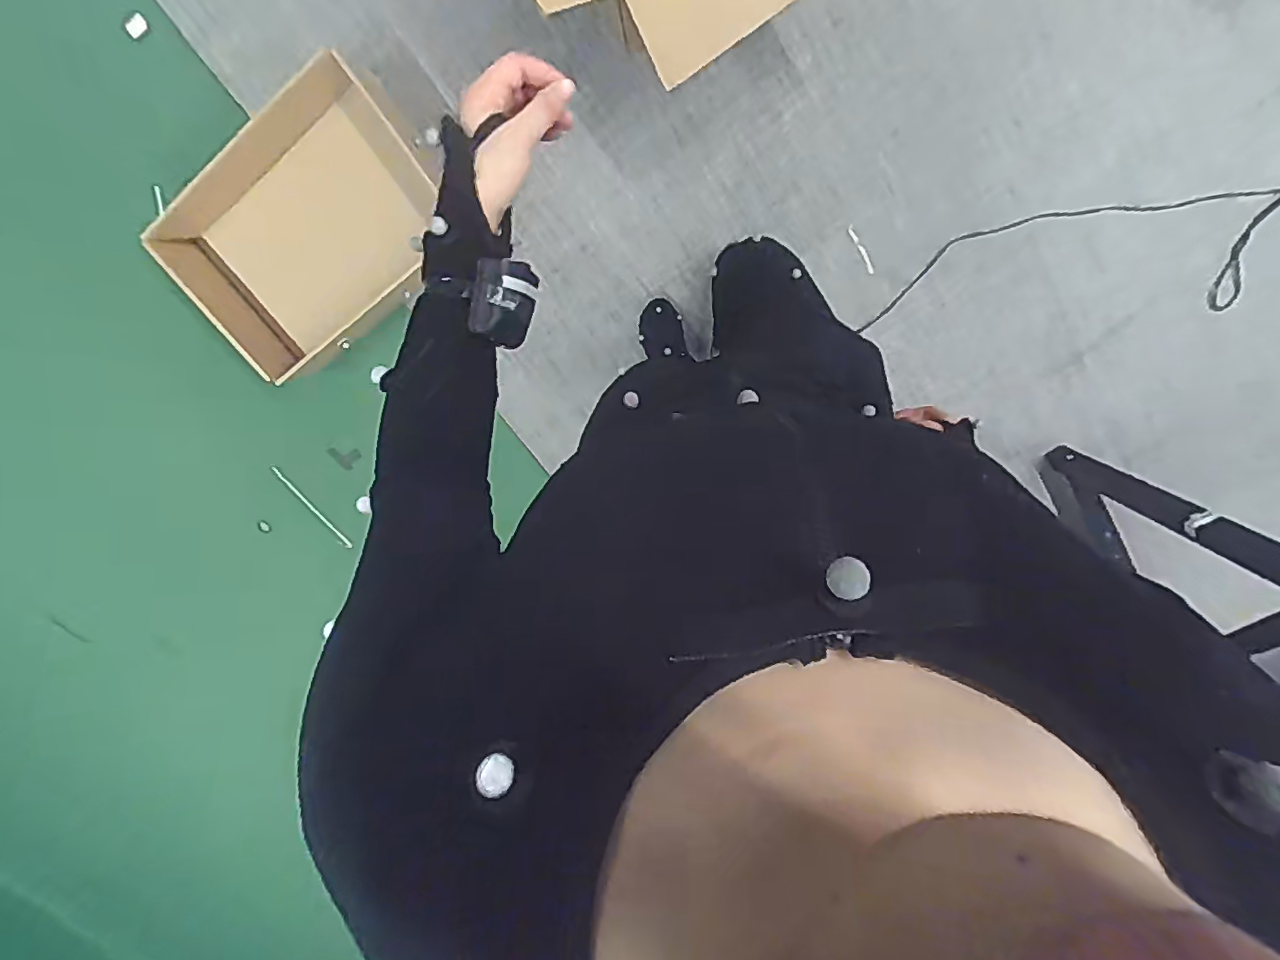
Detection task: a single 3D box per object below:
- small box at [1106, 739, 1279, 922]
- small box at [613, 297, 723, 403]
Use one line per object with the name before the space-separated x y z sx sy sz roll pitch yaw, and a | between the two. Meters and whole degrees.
small box | 0.905 0.540 0.850 0.179 0.176 0.168 13 113 -3
small box | 0.076 -0.314 1.307 0.176 0.168 0.179 34 86 -39
